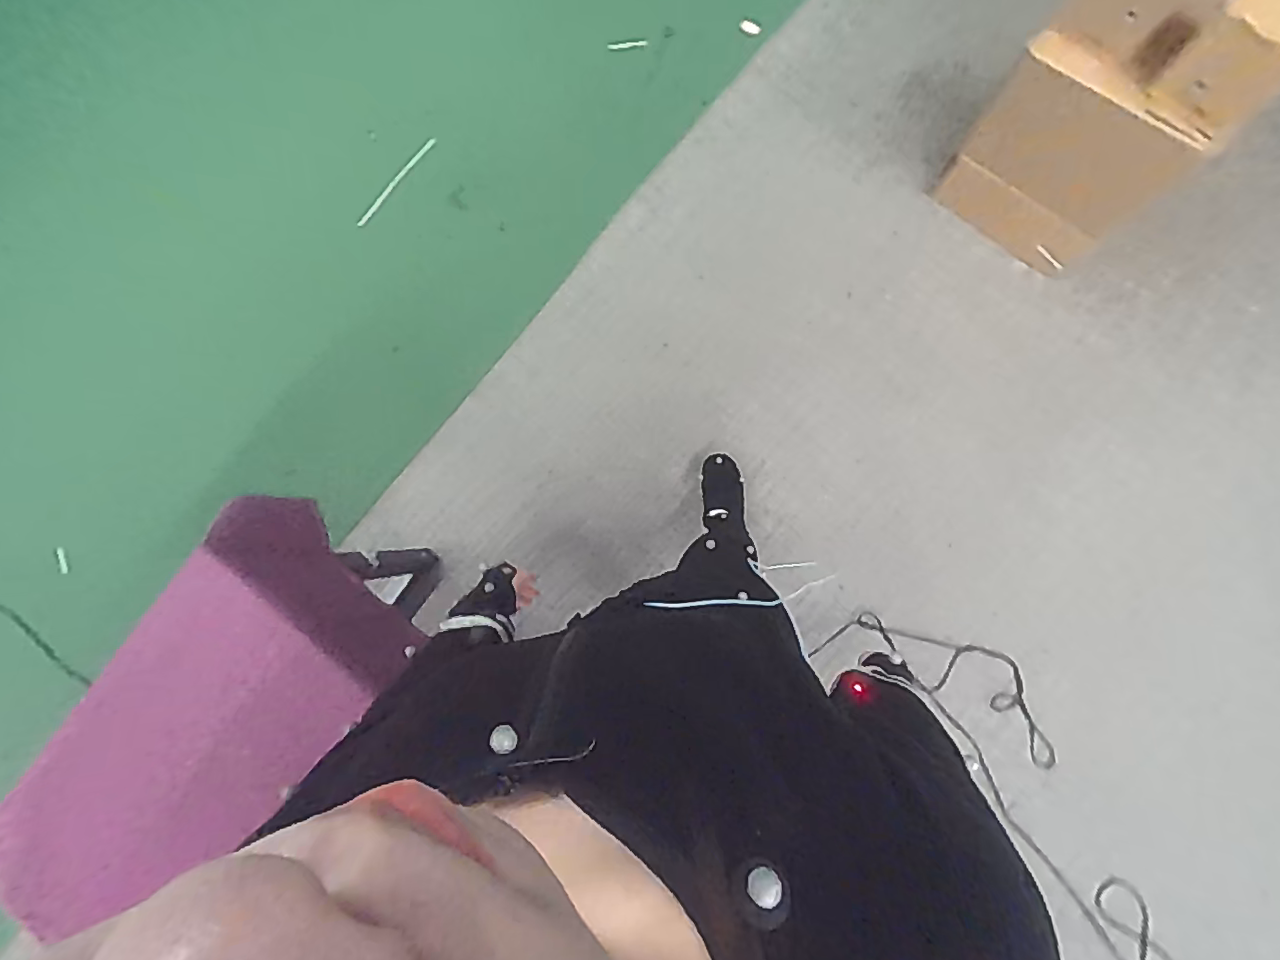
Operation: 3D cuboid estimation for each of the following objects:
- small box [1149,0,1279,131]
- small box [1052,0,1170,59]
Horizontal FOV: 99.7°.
[{"bbox_3d":[1.076,-0.776,0.950,0.179,0.176,0.168,-44,80,1],"label":"small box"},{"bbox_3d":[0.909,-0.936,0.987,0.168,0.176,0.179,41,90,6],"label":"small box"}]
